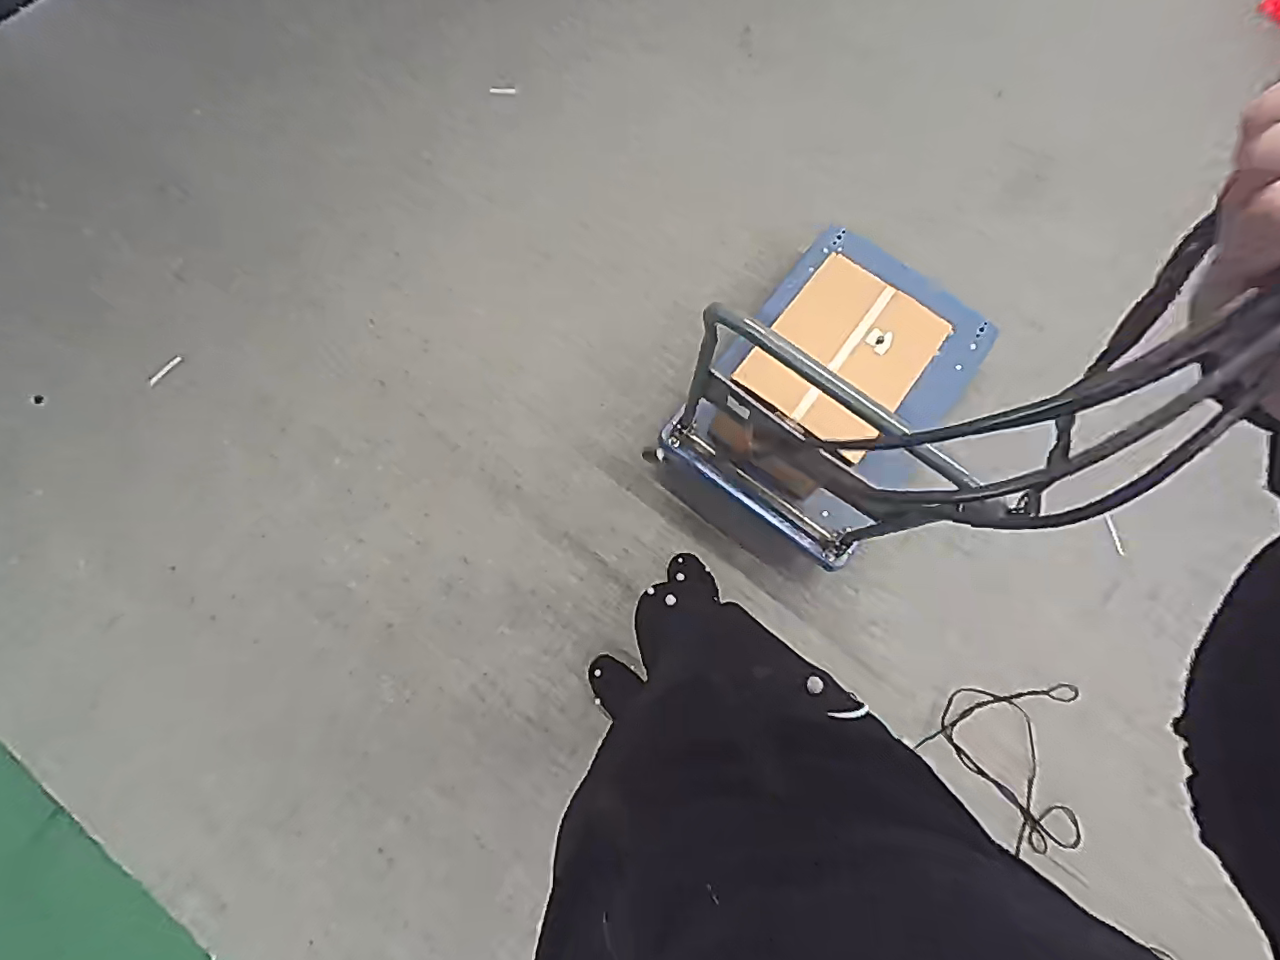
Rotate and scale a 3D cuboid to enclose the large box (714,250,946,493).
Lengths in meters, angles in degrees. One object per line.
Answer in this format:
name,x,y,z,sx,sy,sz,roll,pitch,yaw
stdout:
large box,0.428,-0.241,1.296,0.320,0.320,0.408,37,76,7
